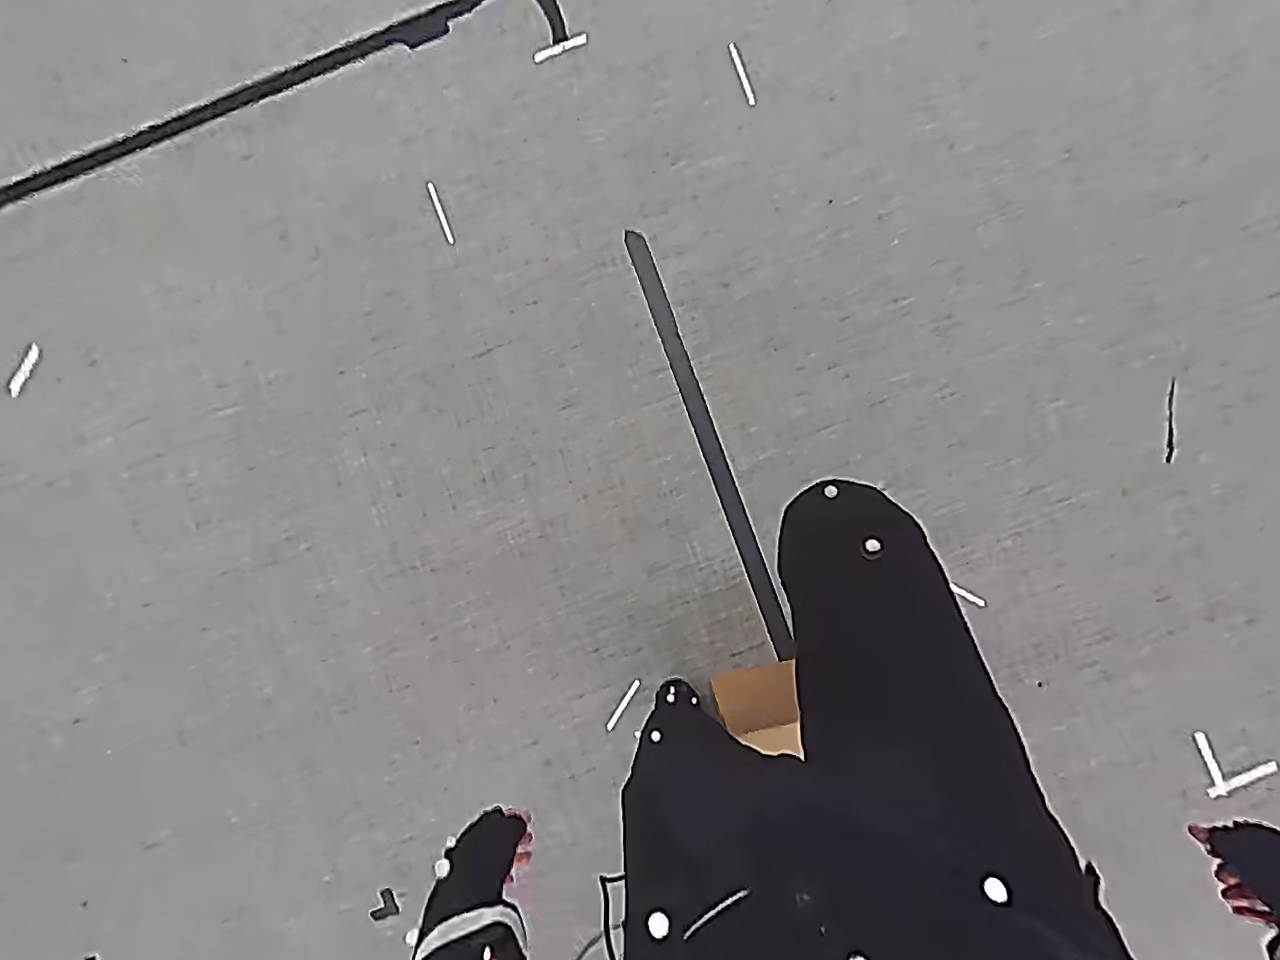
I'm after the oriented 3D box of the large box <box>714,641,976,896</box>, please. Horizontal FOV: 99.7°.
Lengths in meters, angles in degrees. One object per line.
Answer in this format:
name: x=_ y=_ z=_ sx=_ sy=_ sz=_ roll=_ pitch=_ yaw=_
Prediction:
large box: x=0.405 y=0.583 z=1.160 sx=0.408 sy=0.320 sz=0.320 roll=-14 pitch=89 yaw=0
